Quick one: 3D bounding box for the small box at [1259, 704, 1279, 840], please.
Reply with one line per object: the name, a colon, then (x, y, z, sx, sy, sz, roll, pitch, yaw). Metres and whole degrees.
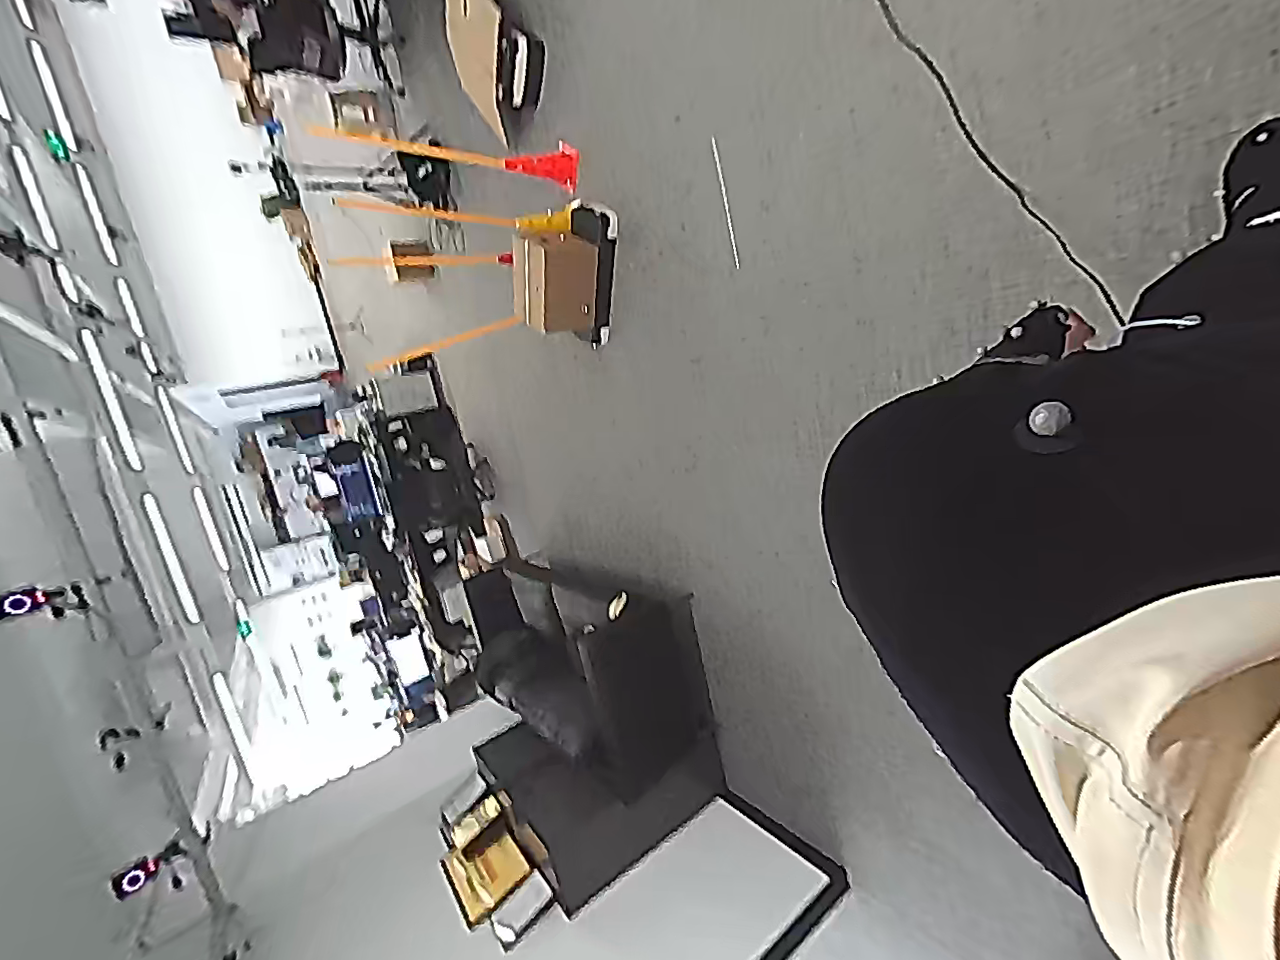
small box: (1.060, 0.451, 0.799, 0.168, 0.176, 0.179, 5, 109, 56)
